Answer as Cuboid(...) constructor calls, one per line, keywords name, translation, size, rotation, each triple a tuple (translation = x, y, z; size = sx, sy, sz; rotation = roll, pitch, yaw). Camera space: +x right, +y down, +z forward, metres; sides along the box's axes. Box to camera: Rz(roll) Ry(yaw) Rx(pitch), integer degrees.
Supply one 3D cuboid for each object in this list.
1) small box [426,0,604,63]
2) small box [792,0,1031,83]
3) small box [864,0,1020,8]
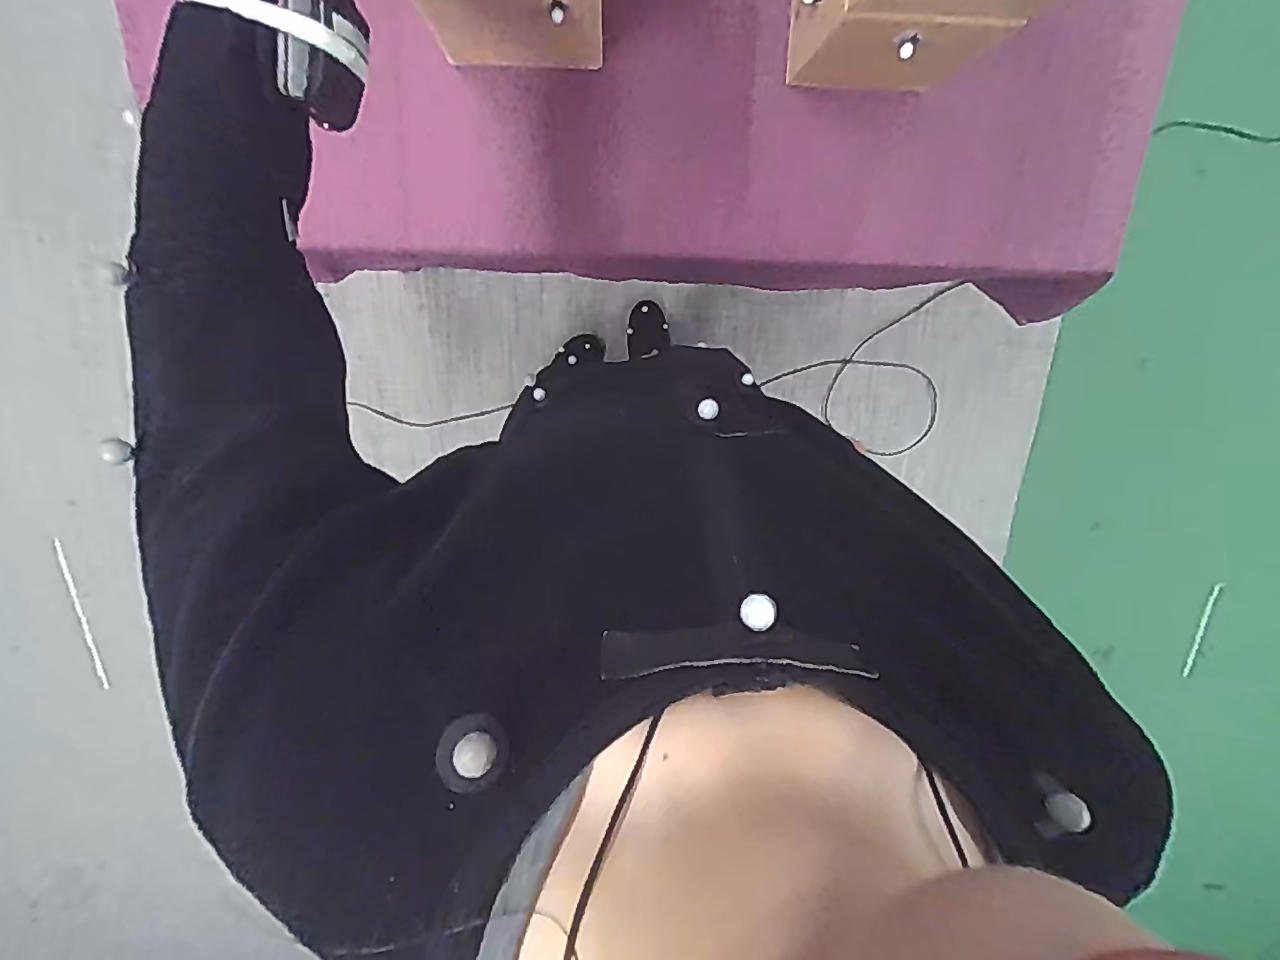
Cuboid(name="small box", translation=(-0.124, -0.531, 0.517), size=(0.179, 0.176, 0.168), rotation=(-2, 107, -4))
Cuboid(name="small box", translation=(0.267, -0.528, 0.544), size=(0.179, 0.176, 0.168), rotation=(0, 108, -4))
Cuboid(name="small box", translation=(0.278, -0.480, 0.388), size=(0.179, 0.176, 0.168), rotation=(-1, 108, -3))
